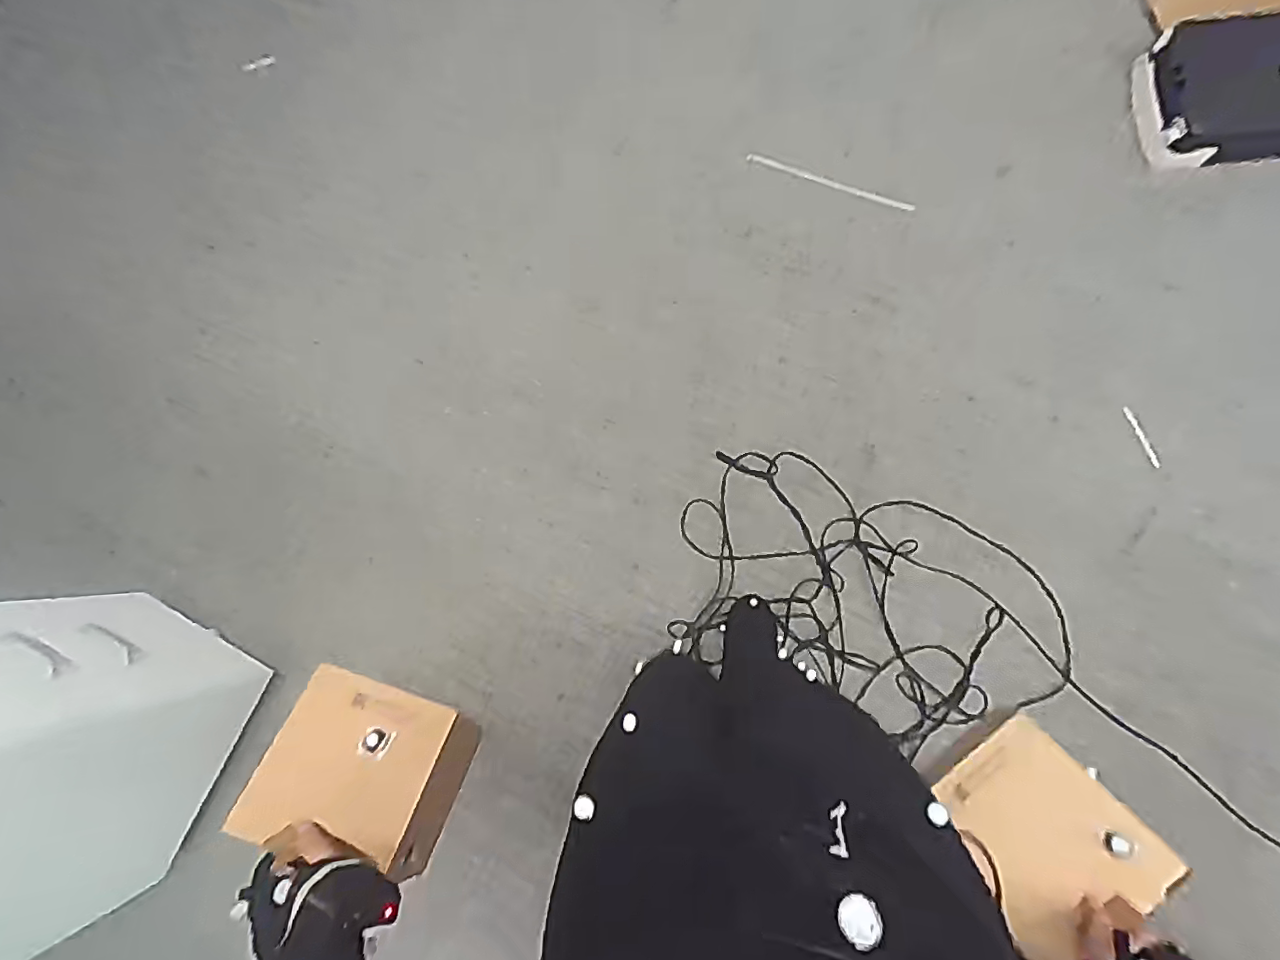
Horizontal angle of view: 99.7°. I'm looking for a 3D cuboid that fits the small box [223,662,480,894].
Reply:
[{"bbox_3d":[-0.300,0.327,0.614,0.168,0.179,0.176,18,60,4],"label":"small box"}]
